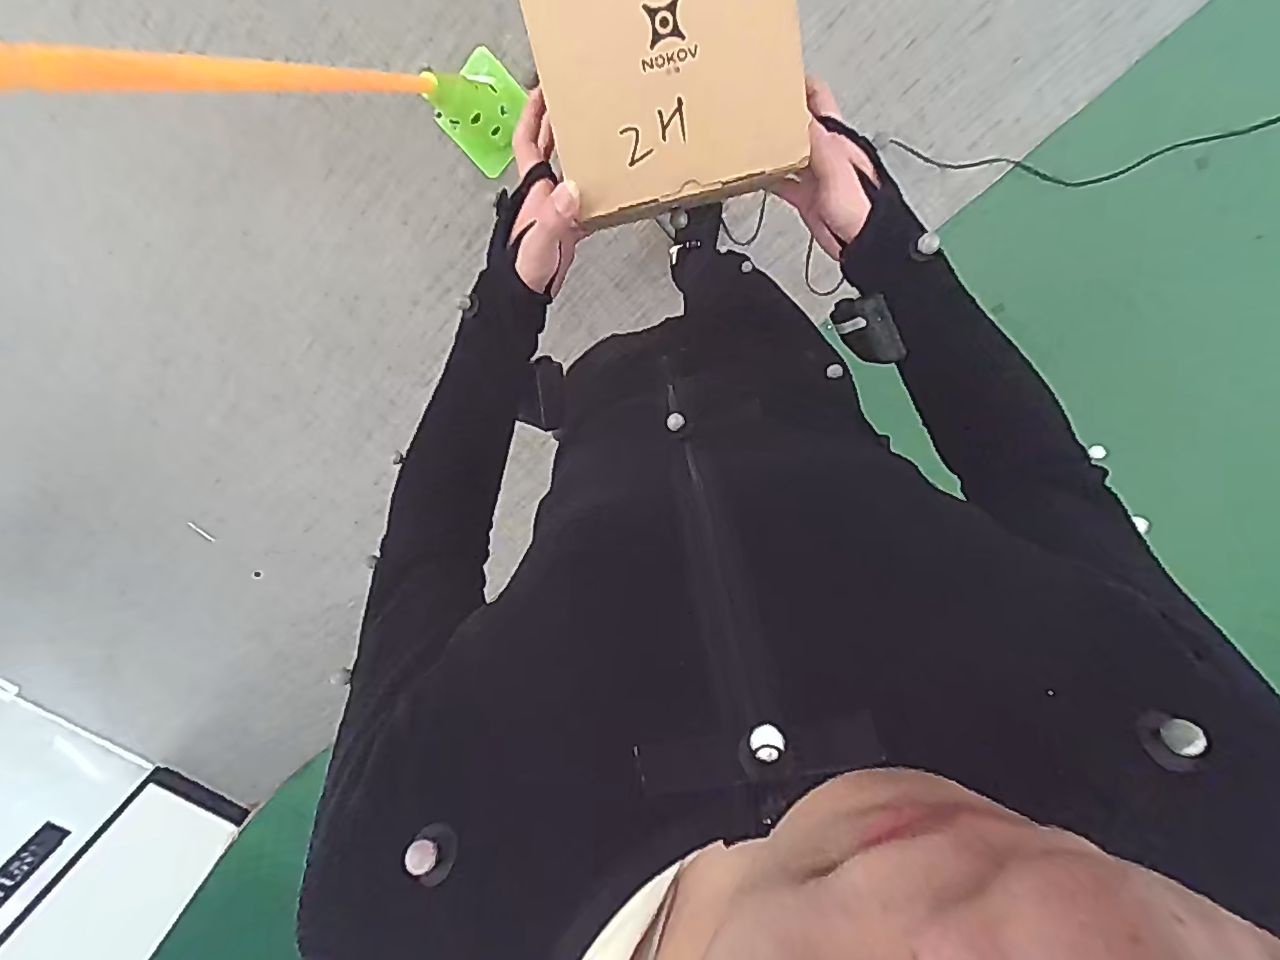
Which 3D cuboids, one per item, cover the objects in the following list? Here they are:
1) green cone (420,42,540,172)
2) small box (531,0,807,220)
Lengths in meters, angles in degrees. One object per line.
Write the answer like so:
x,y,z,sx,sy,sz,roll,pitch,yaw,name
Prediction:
-0.371,-0.805,1.135,0.202,0.368,0.200,-40,109,20,green cone
0.016,-0.311,0.413,0.168,0.176,0.179,-11,114,4,small box
